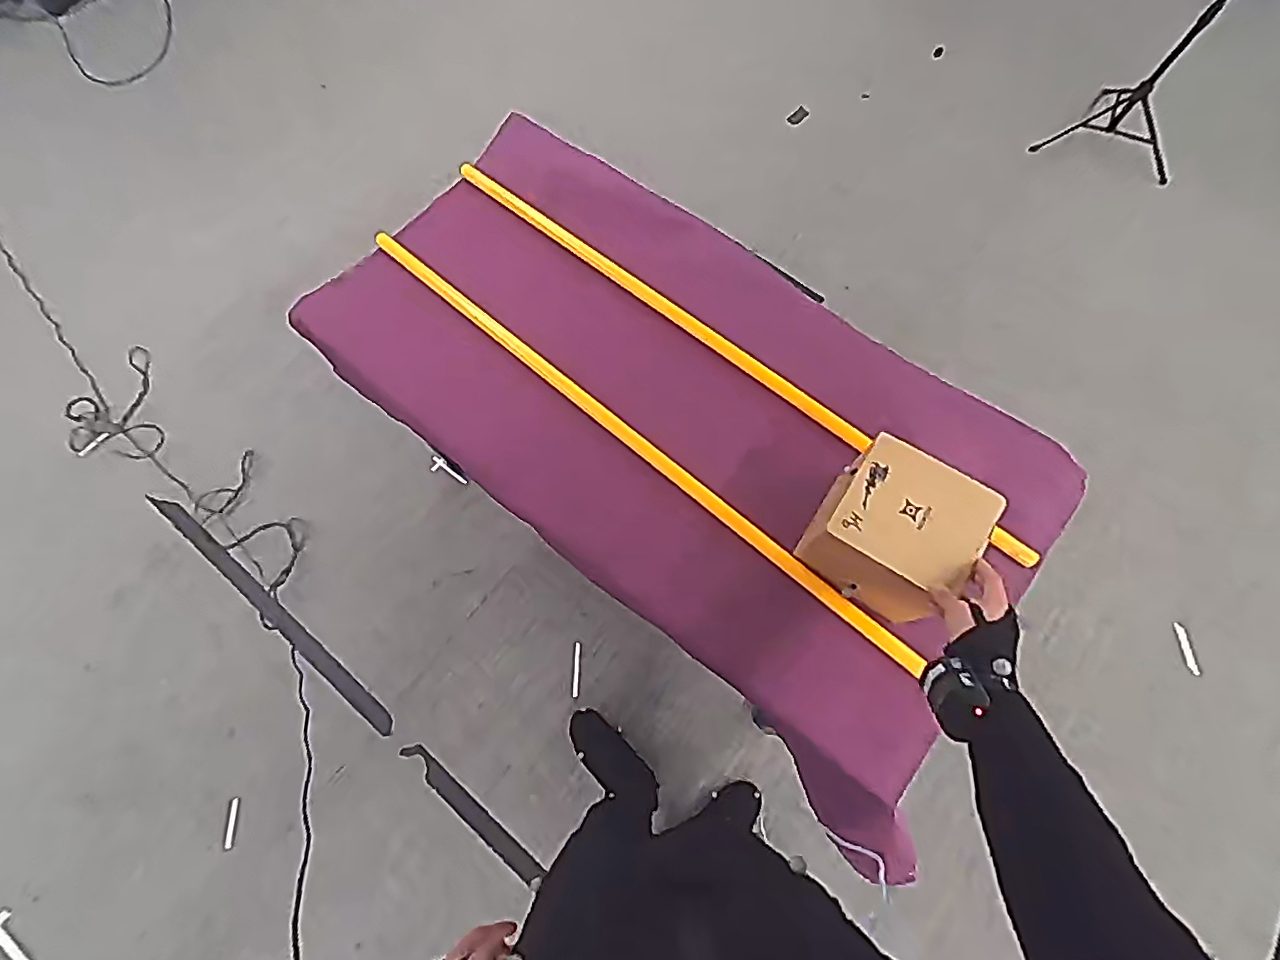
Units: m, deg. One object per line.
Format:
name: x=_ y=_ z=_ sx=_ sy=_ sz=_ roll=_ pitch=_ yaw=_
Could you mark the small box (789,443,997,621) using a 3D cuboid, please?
small box: x=0.339 y=0.083 z=0.758 sx=0.179 sy=0.176 sz=0.168 roll=33 pitch=74 yaw=11
